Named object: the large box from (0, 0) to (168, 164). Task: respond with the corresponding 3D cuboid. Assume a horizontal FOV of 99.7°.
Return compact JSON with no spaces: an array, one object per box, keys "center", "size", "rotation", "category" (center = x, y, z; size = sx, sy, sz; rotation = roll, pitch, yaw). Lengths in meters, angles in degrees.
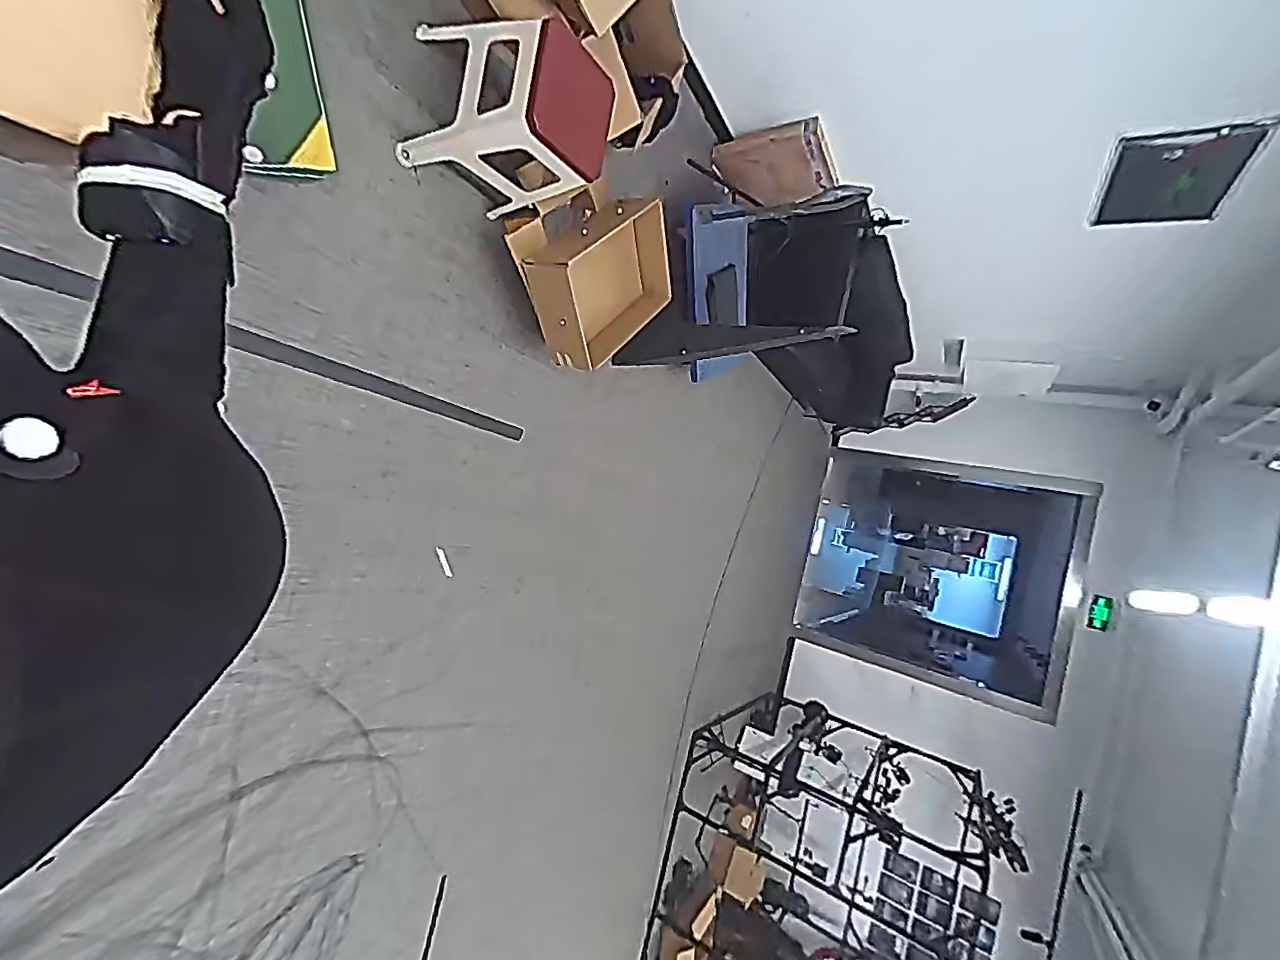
[{"center":[-0.551,-0.421,0.277],"size":[0.408,0.320,0.320],"rotation":[2,107,-62],"category":"large box"}]
